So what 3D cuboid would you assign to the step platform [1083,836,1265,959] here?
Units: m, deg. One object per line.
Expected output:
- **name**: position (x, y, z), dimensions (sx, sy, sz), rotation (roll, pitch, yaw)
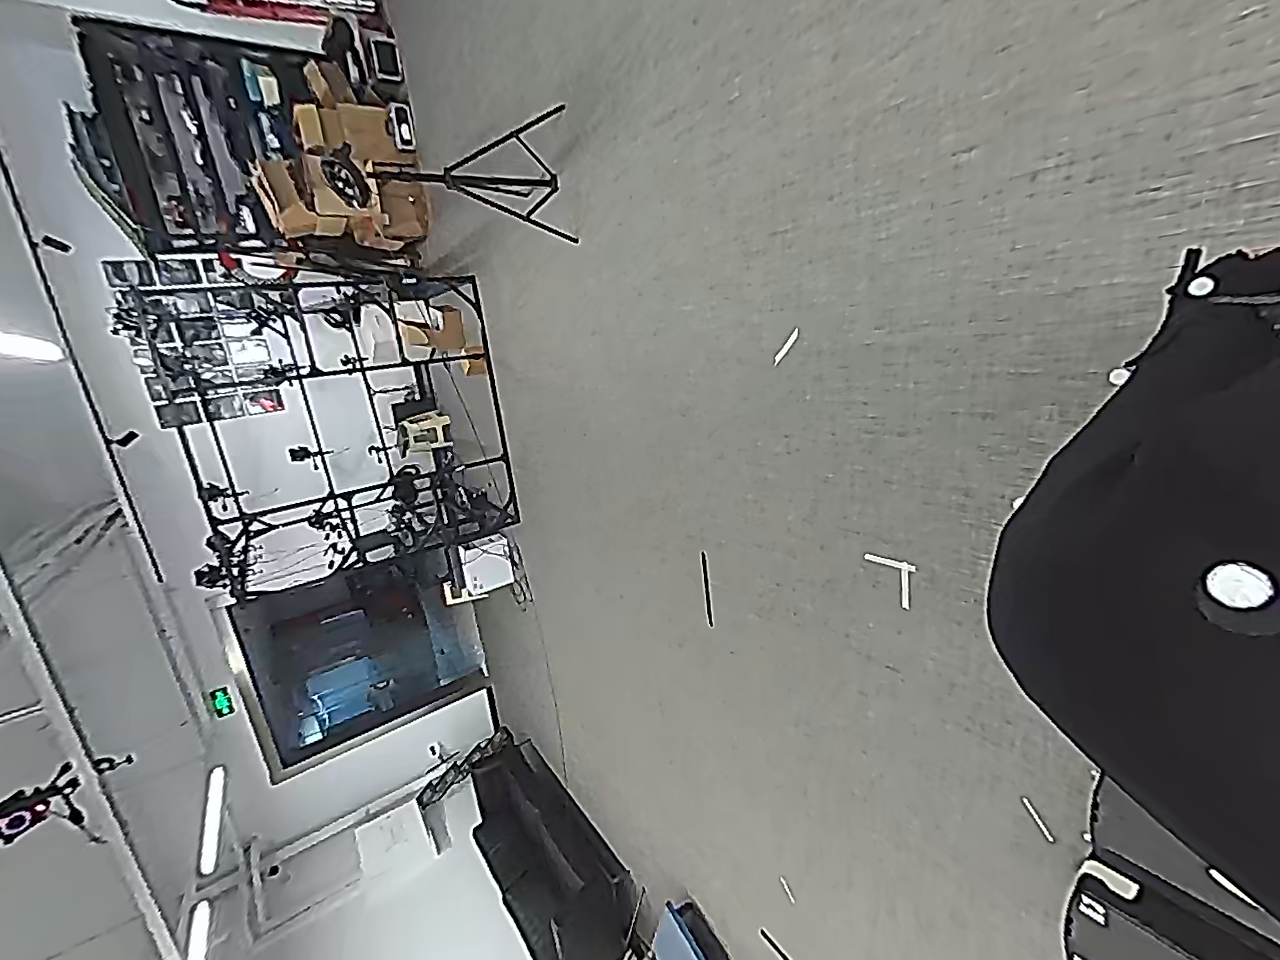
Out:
- **step platform**: position (1.335, 1.089, 1.090), dimensions (0.684, 0.204, 0.286), rotation (15, 116, 56)
